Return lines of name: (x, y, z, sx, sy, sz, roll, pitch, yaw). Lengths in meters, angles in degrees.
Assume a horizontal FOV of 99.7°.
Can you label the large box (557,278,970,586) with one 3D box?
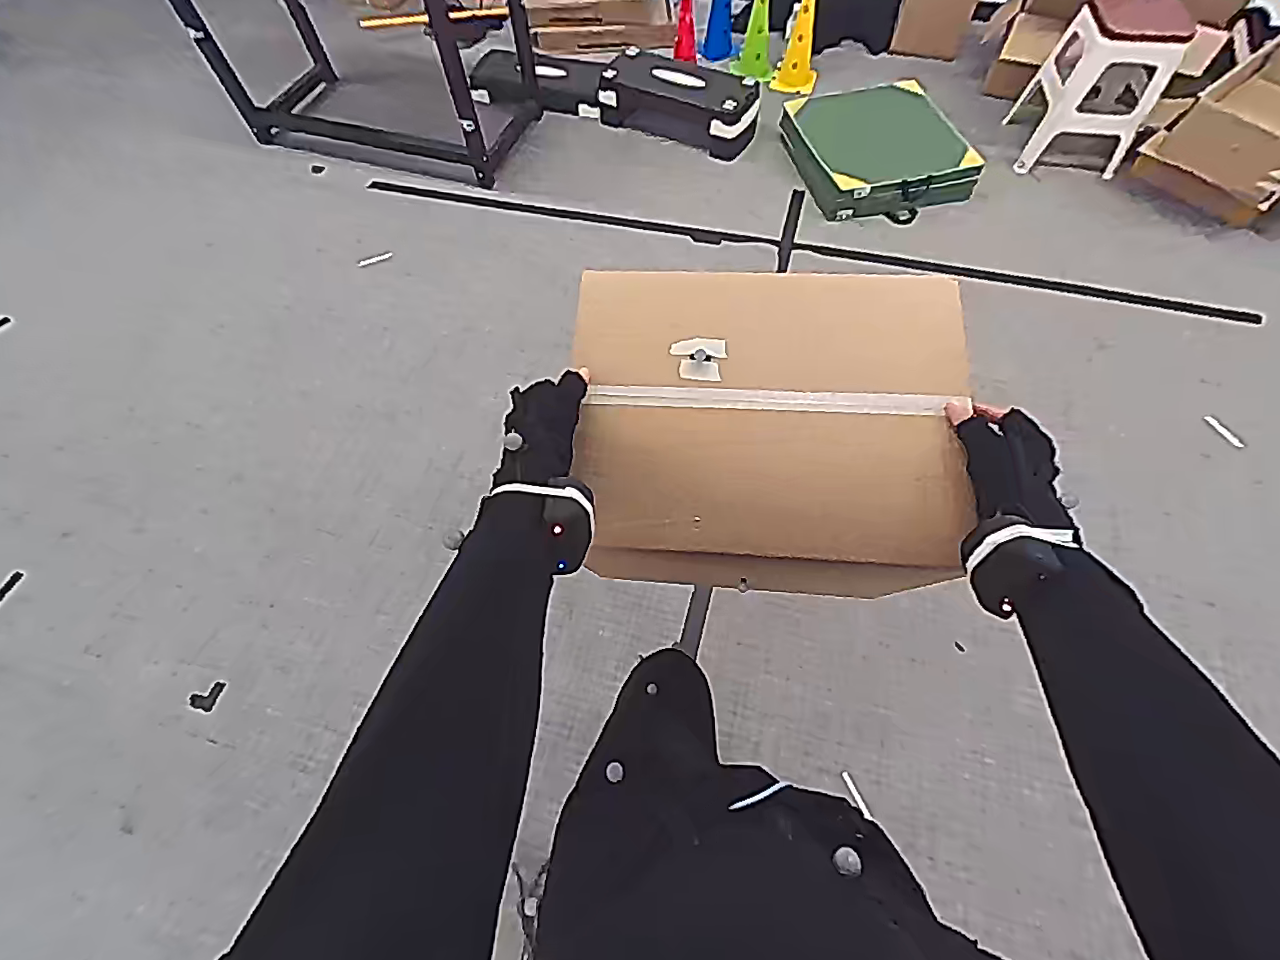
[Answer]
large box: (0.139, -0.038, 0.708, 0.408, 0.320, 0.320, 3, 73, 7)
